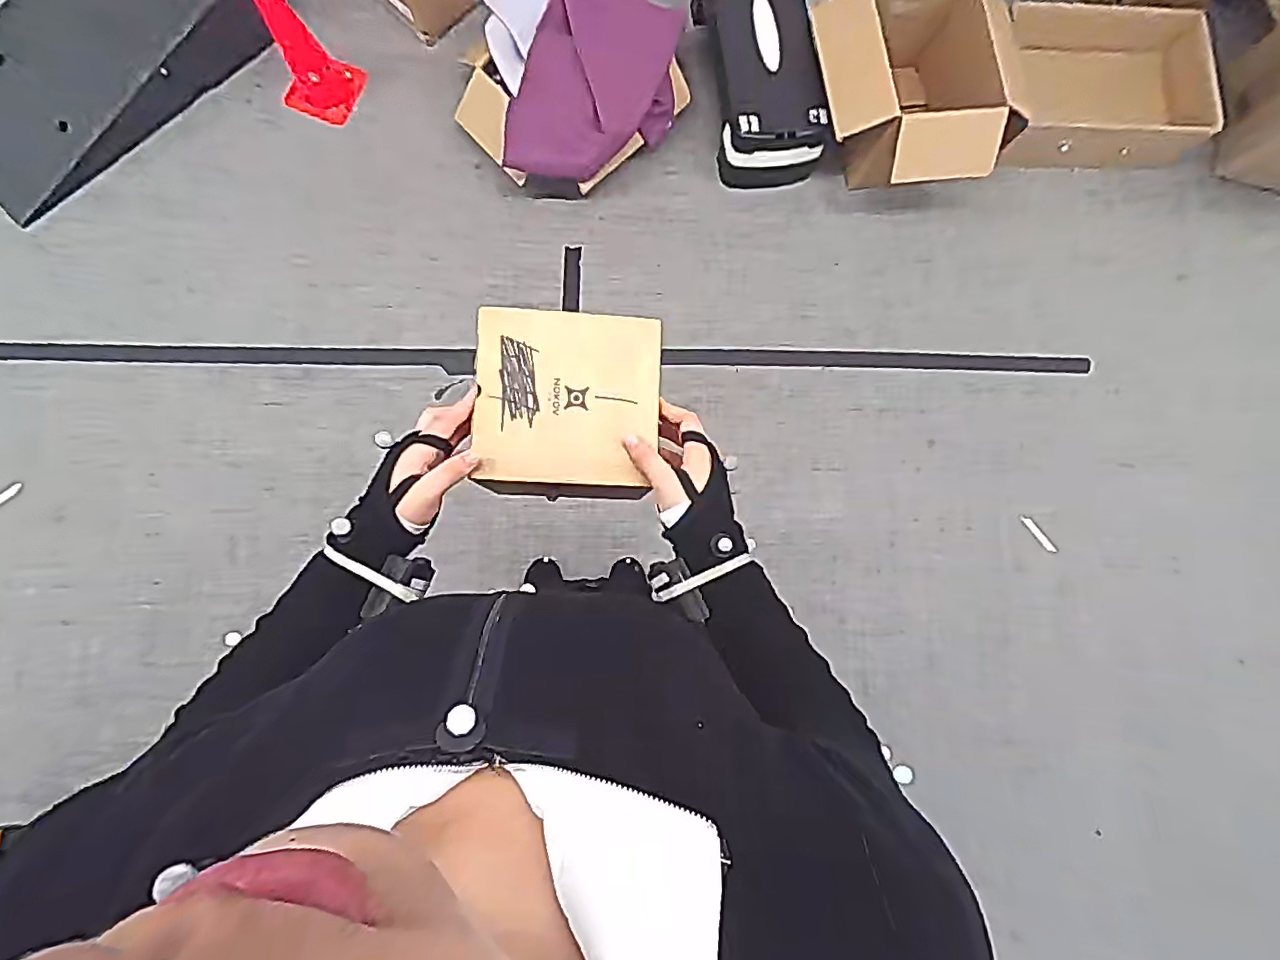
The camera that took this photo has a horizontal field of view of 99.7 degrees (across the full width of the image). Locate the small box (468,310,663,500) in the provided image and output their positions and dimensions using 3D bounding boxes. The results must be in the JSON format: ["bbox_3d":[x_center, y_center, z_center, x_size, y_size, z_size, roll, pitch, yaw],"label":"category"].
[{"bbox_3d":[-0.074,-0.067,0.587,0.179,0.176,0.168,3,84,-6],"label":"small box"}]
